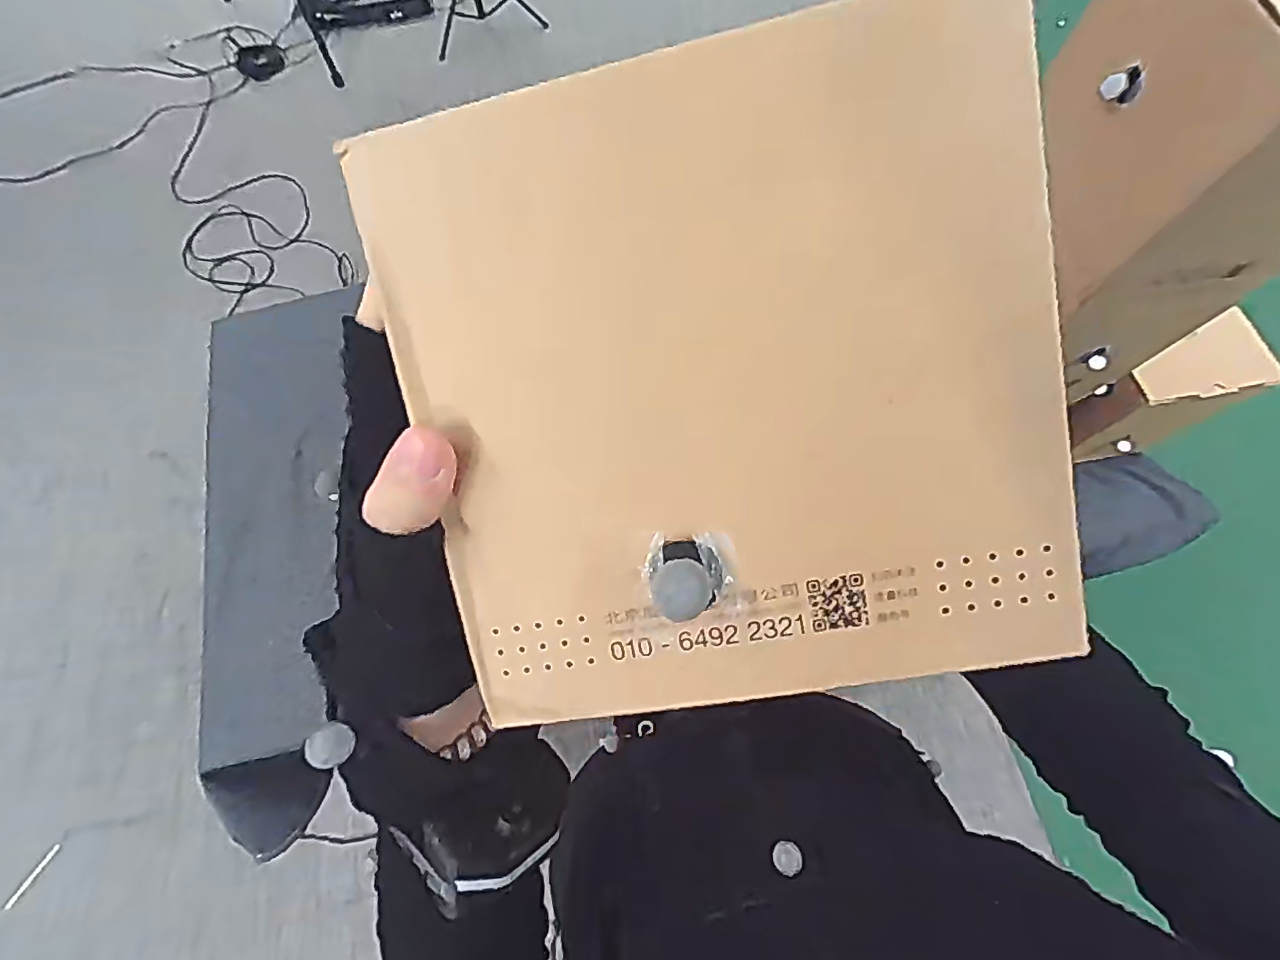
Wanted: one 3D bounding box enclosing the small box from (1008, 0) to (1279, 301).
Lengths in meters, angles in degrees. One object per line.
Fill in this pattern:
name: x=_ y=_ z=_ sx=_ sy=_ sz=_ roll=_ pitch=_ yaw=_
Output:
small box: x=0.404 y=-0.254 z=0.374 sx=0.168 sy=0.176 sz=0.179 roll=-8 pitch=69 yaw=-1
